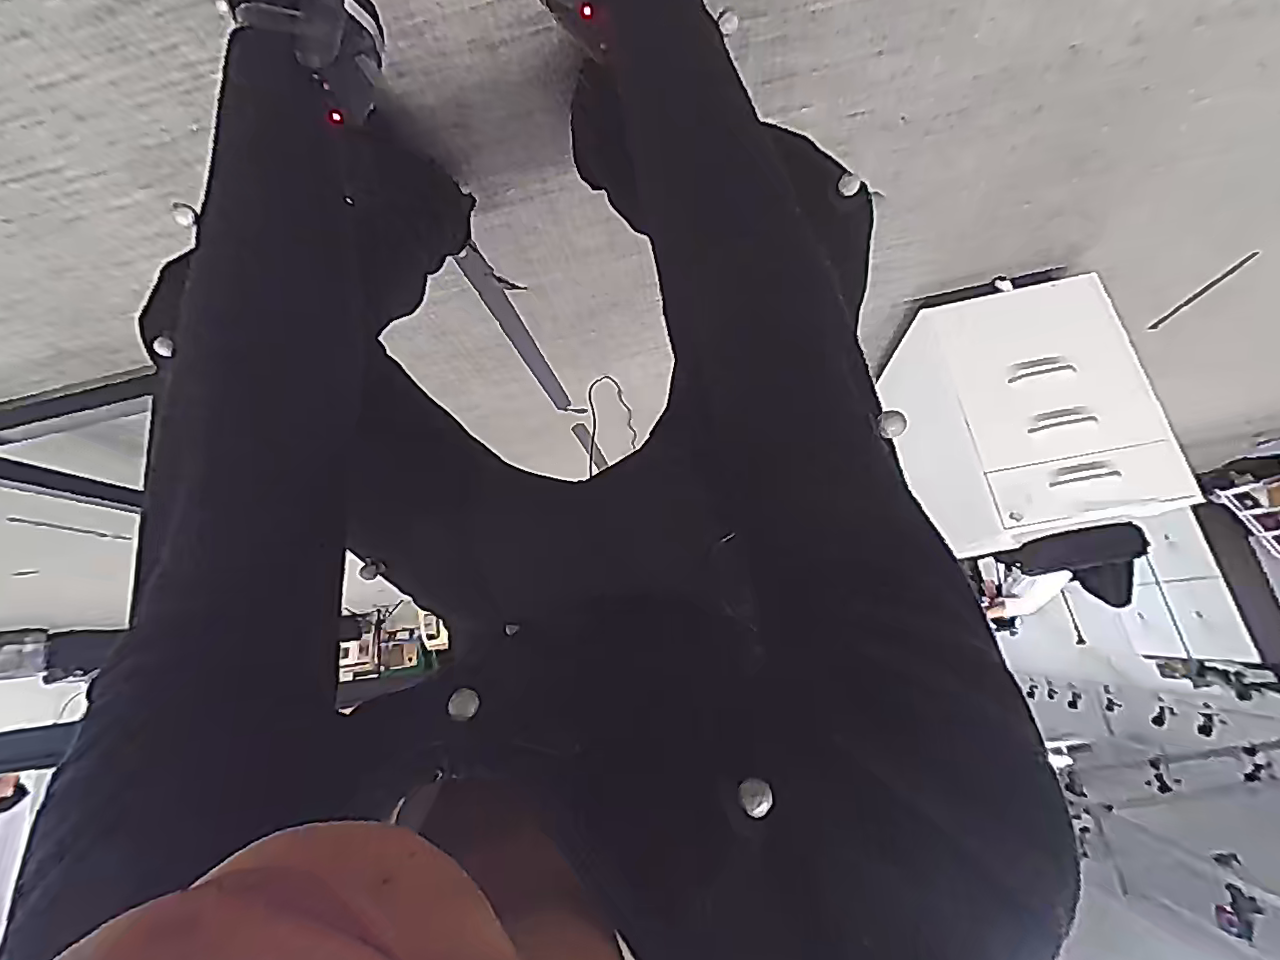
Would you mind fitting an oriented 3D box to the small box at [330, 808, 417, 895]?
[{"bbox_3d":[-0.784,1.091,1.603,0.179,0.176,0.168,-12,164,7],"label":"small box"}]

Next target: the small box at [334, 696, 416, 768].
[{"bbox_3d":[-0.833,0.782,1.699,0.179,0.176,0.168,-12,163,7],"label":"small box"}]
